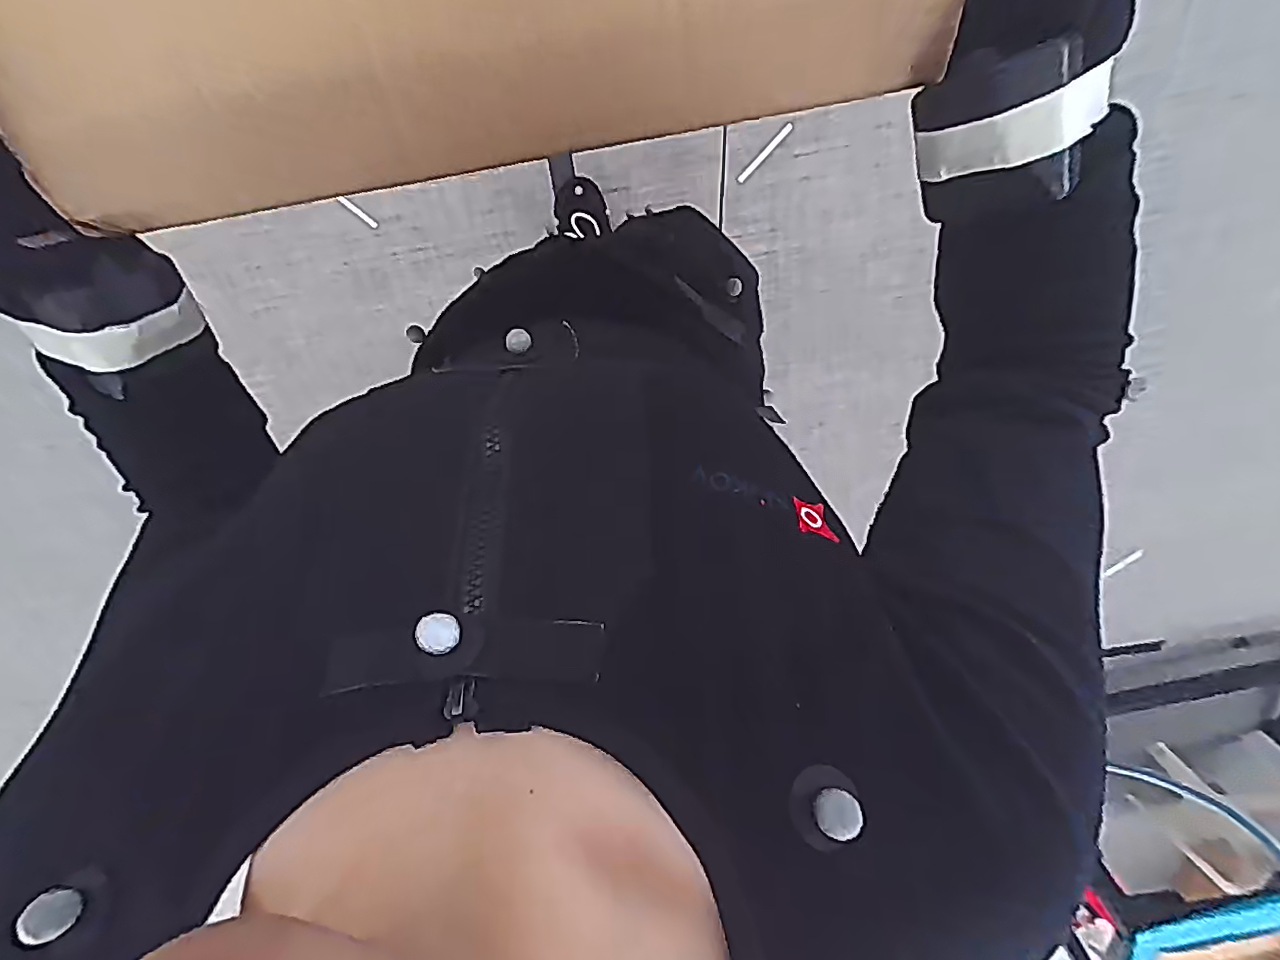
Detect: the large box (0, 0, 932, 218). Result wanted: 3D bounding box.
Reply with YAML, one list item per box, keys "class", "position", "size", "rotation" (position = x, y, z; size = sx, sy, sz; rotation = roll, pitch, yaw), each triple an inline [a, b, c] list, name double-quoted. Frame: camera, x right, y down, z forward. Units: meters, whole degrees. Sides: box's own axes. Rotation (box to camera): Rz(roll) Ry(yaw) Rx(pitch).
- class: "large box"
  position: [-0.100, -0.369, 0.237]
  size: [0.408, 0.320, 0.320]
  rotation: [-9, 138, 3]
